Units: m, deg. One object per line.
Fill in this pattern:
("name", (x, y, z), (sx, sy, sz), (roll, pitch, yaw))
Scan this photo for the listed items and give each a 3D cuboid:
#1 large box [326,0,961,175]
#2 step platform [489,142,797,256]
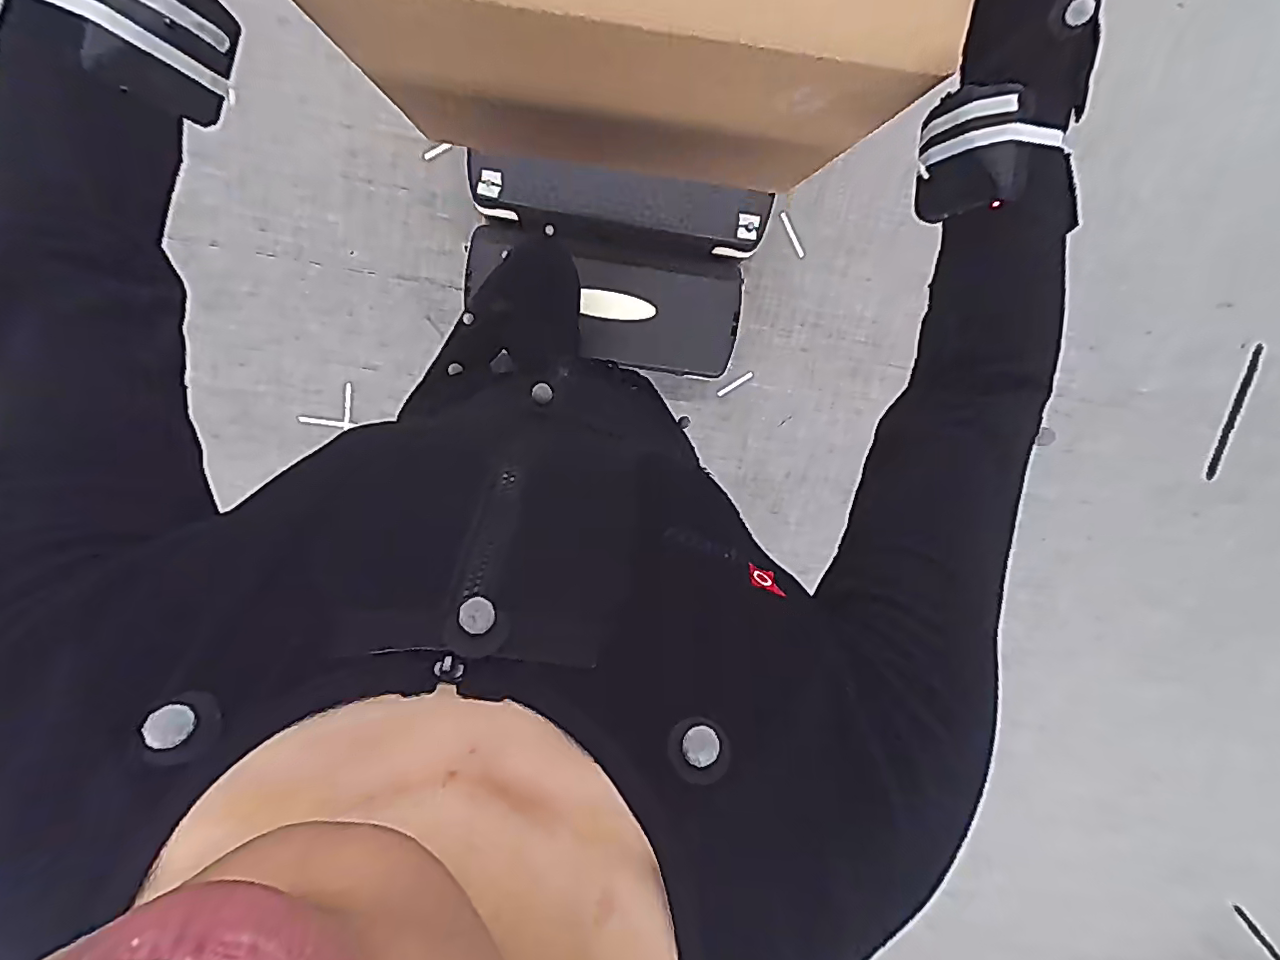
("large box", (-0.003, -0.463, 0.418), (0.408, 0.320, 0.320), (4, 107, -6))
("step platform", (0.008, -0.717, 1.236), (0.684, 0.204, 0.286), (6, 103, -6))
